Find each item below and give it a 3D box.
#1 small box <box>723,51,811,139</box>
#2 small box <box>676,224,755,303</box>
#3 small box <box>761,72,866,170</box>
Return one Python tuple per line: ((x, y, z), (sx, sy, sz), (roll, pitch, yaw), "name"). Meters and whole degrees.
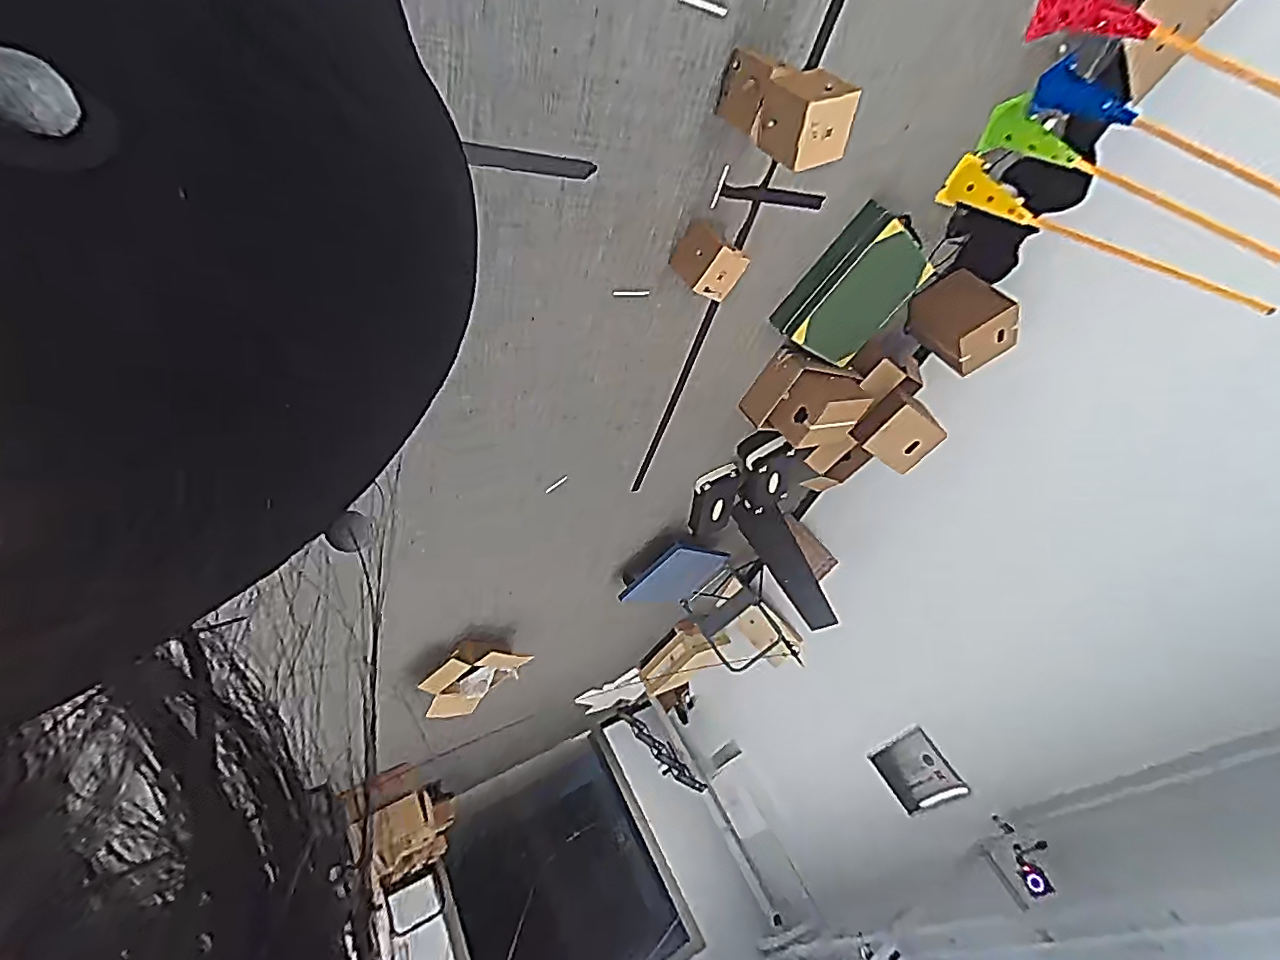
((0.361, -1.070, 1.512), (0.179, 0.176, 0.168), (-15, 145, -31), "small box")
((0.255, -0.753, 1.876), (0.168, 0.176, 0.179), (-1, 139, -44), "small box")
((0.452, -0.957, 1.434), (0.179, 0.176, 0.168), (-21, 146, -18), "small box")
